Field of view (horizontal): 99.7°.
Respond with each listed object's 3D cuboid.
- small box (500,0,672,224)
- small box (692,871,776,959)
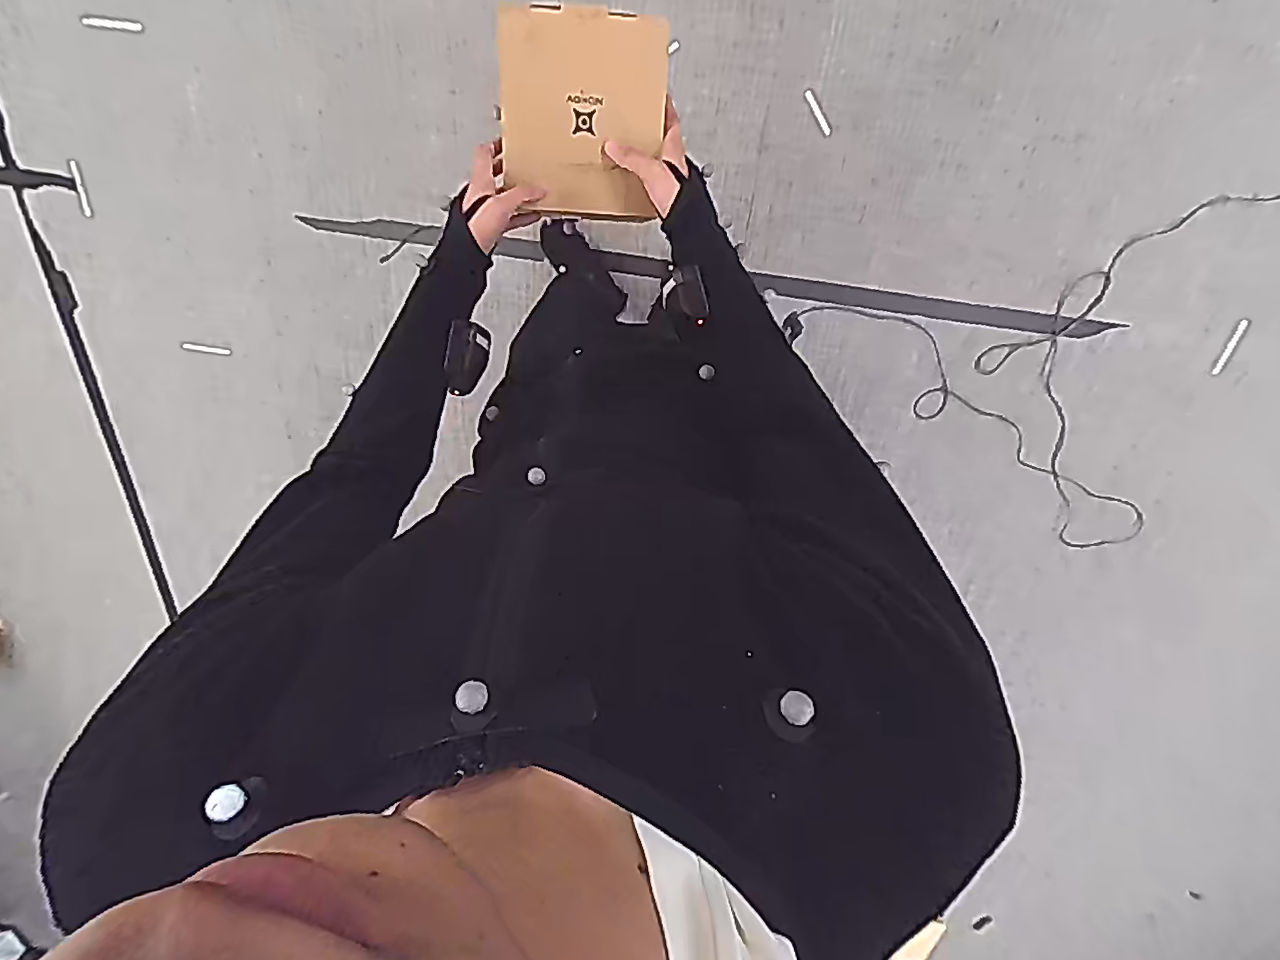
[{"bbox_3d":[-0.064,-0.397,0.612,0.168,0.176,0.179,2,113,-6],"label":"small box"},{"bbox_3d":[0.225,1.102,1.317,0.168,0.176,0.179,11,116,2],"label":"small box"}]
